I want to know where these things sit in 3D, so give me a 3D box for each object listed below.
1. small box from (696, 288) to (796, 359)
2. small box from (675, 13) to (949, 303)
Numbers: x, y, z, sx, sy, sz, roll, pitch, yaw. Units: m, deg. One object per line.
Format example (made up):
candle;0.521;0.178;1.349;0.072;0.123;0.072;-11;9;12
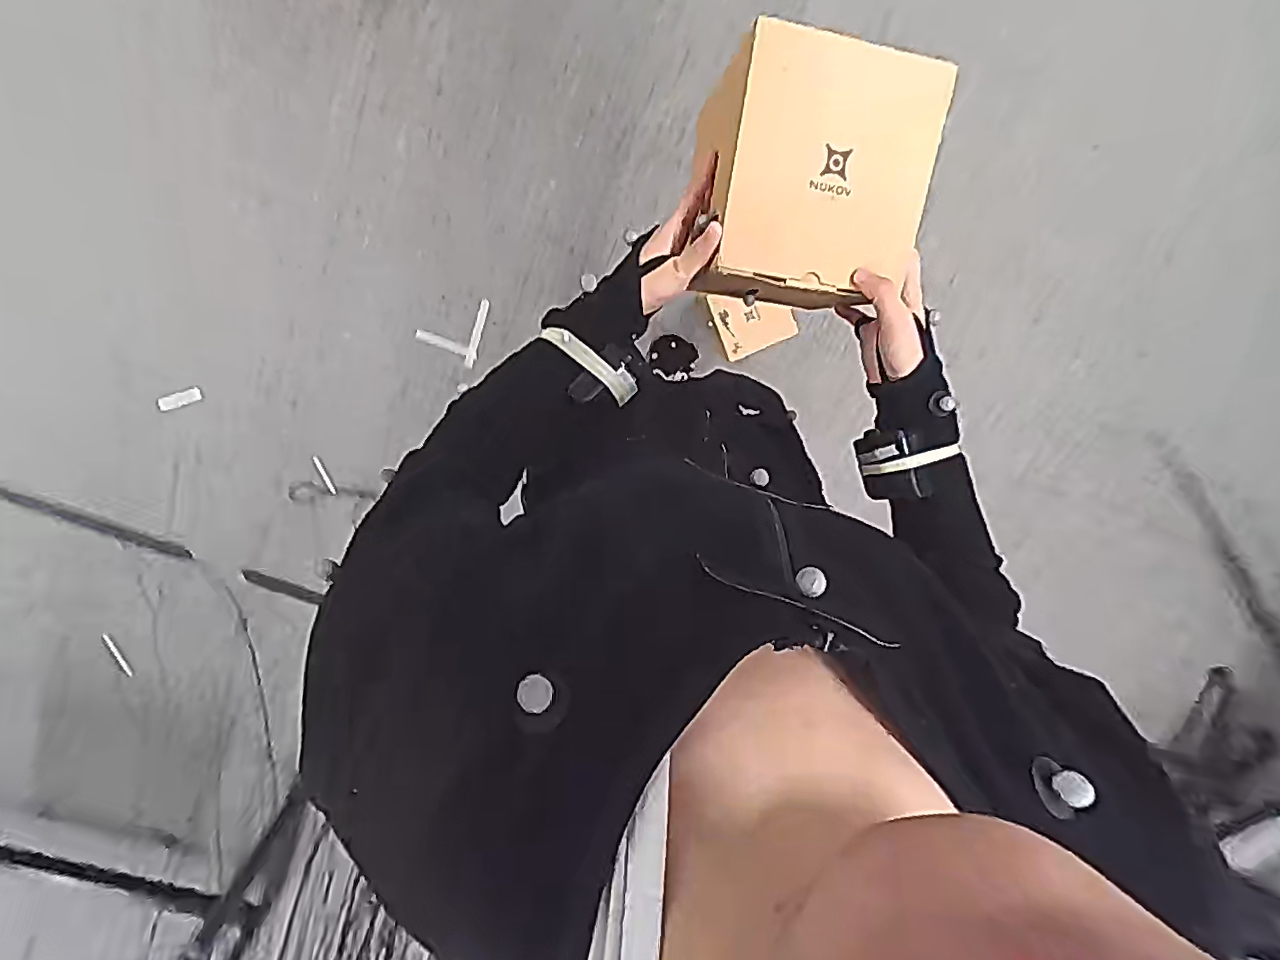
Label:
small box;0.252;-0.414;1.321;0.179;0.176;0.168;-22;109;5
small box;0.136;-0.266;0.497;0.168;0.176;0.179;5;106;-10
